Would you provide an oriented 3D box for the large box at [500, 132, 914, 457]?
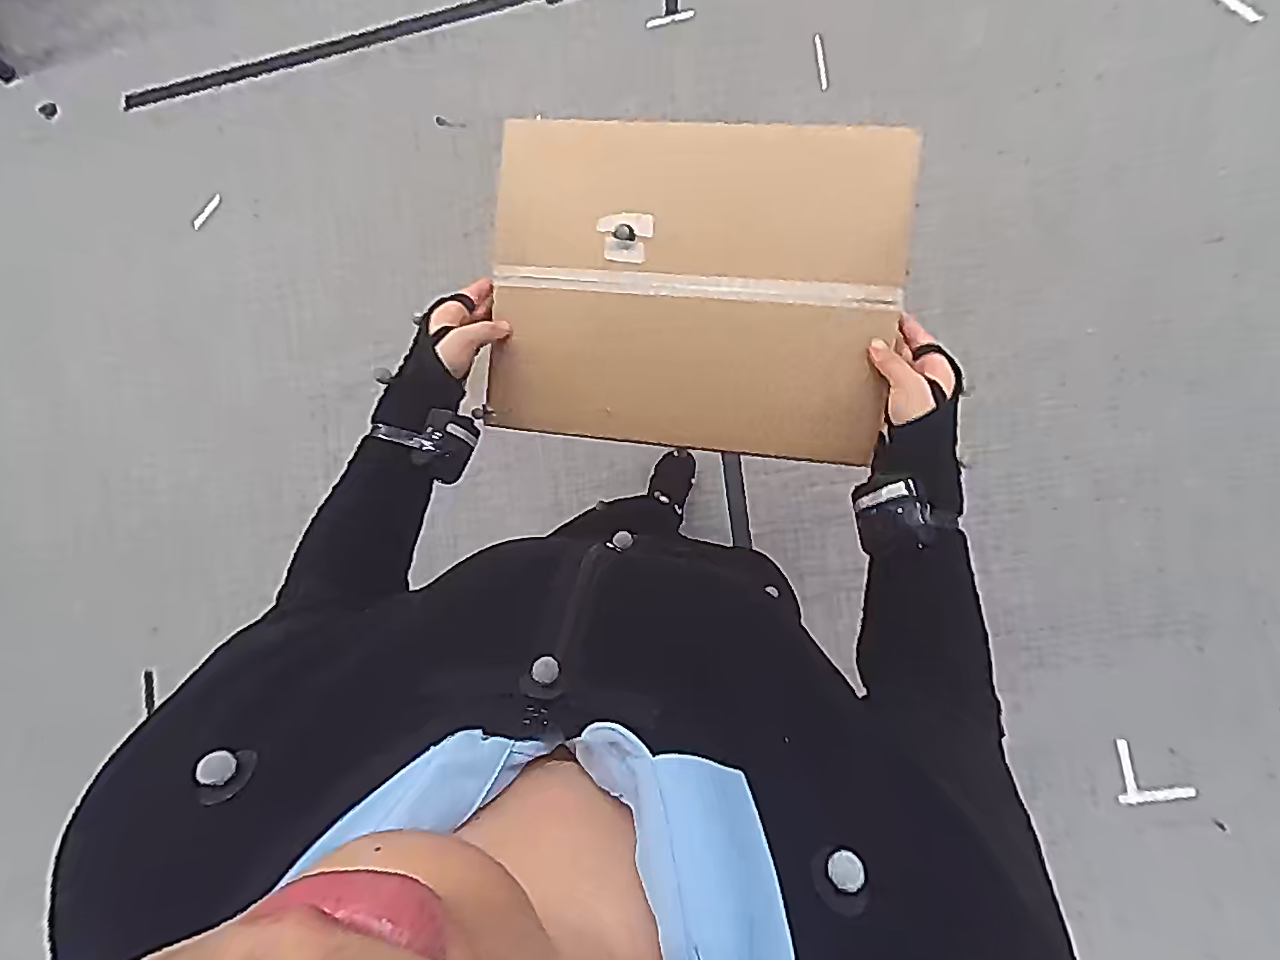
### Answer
[{"bbox_3d":[0.079,-0.205,0.698,0.408,0.320,0.320,7,94,9],"label":"large box"}]
